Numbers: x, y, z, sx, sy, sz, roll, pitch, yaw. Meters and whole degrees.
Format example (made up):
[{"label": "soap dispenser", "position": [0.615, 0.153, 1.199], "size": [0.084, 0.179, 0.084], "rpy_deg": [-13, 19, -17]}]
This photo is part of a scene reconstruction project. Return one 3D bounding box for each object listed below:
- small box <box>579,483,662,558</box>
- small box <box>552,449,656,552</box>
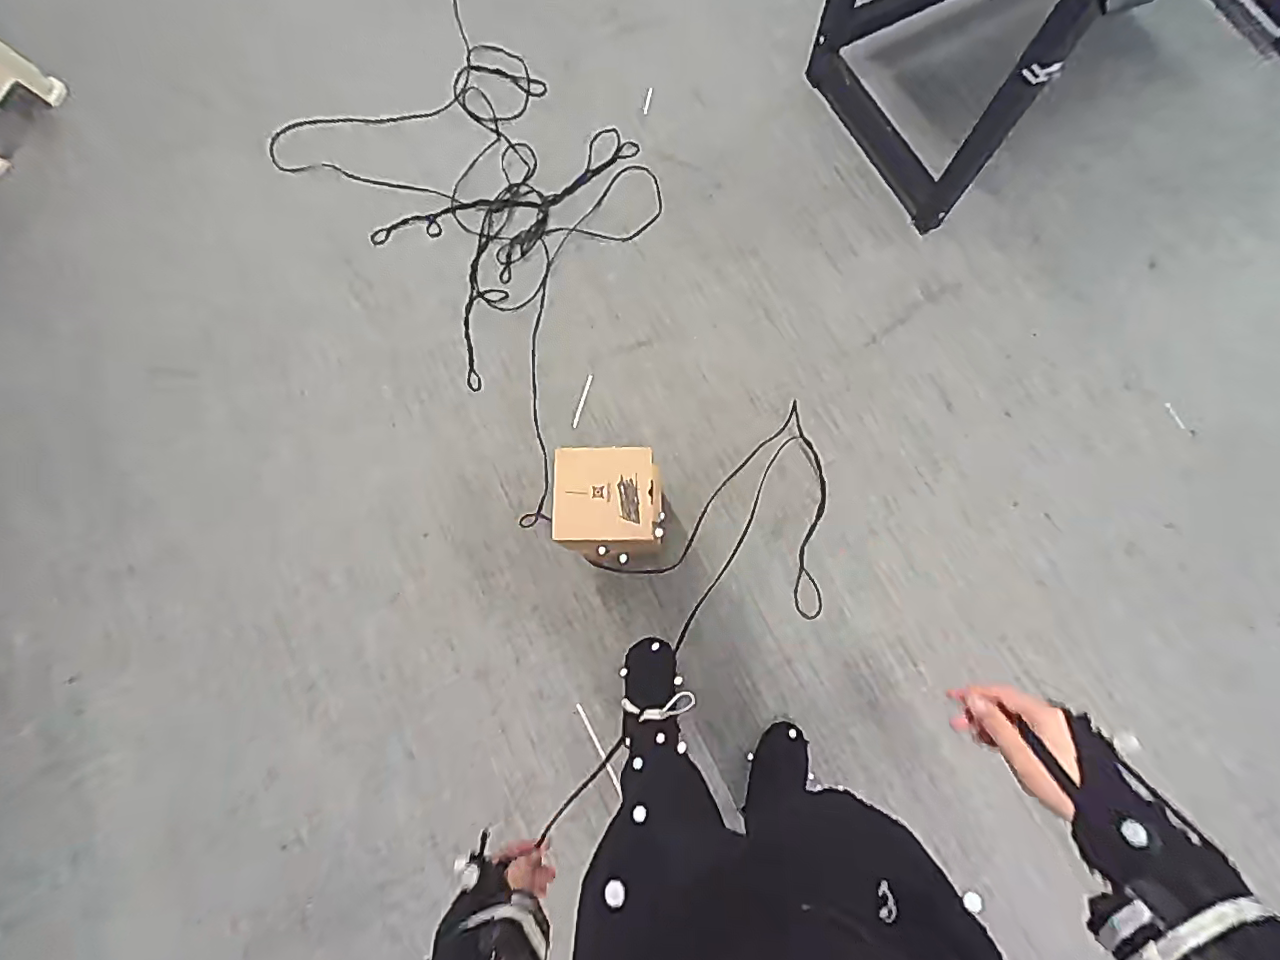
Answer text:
[{"label": "small box", "position": [-0.041, 0.076, 1.171], "size": [0.168, 0.176, 0.179], "rpy_deg": [-5, 77, 1]}, {"label": "small box", "position": [-0.058, 0.043, 1.010], "size": [0.179, 0.176, 0.168], "rpy_deg": [0, 76, 3]}]
